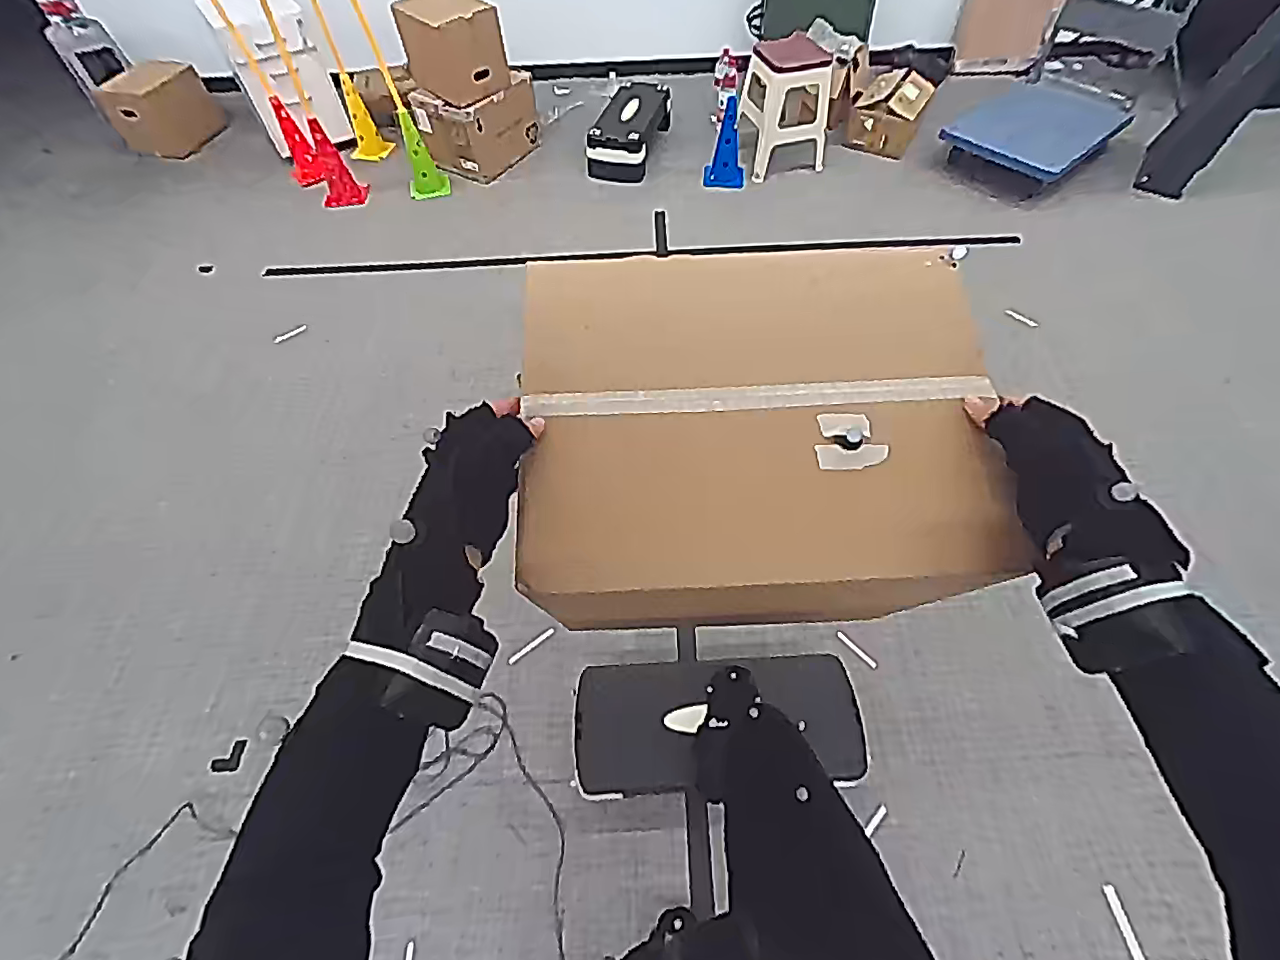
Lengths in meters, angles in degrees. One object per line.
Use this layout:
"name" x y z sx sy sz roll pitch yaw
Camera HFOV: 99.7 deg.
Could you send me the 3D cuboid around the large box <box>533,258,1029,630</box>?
"large box" 0.101 -0.015 0.615 0.408 0.320 0.320 -2 69 -2
